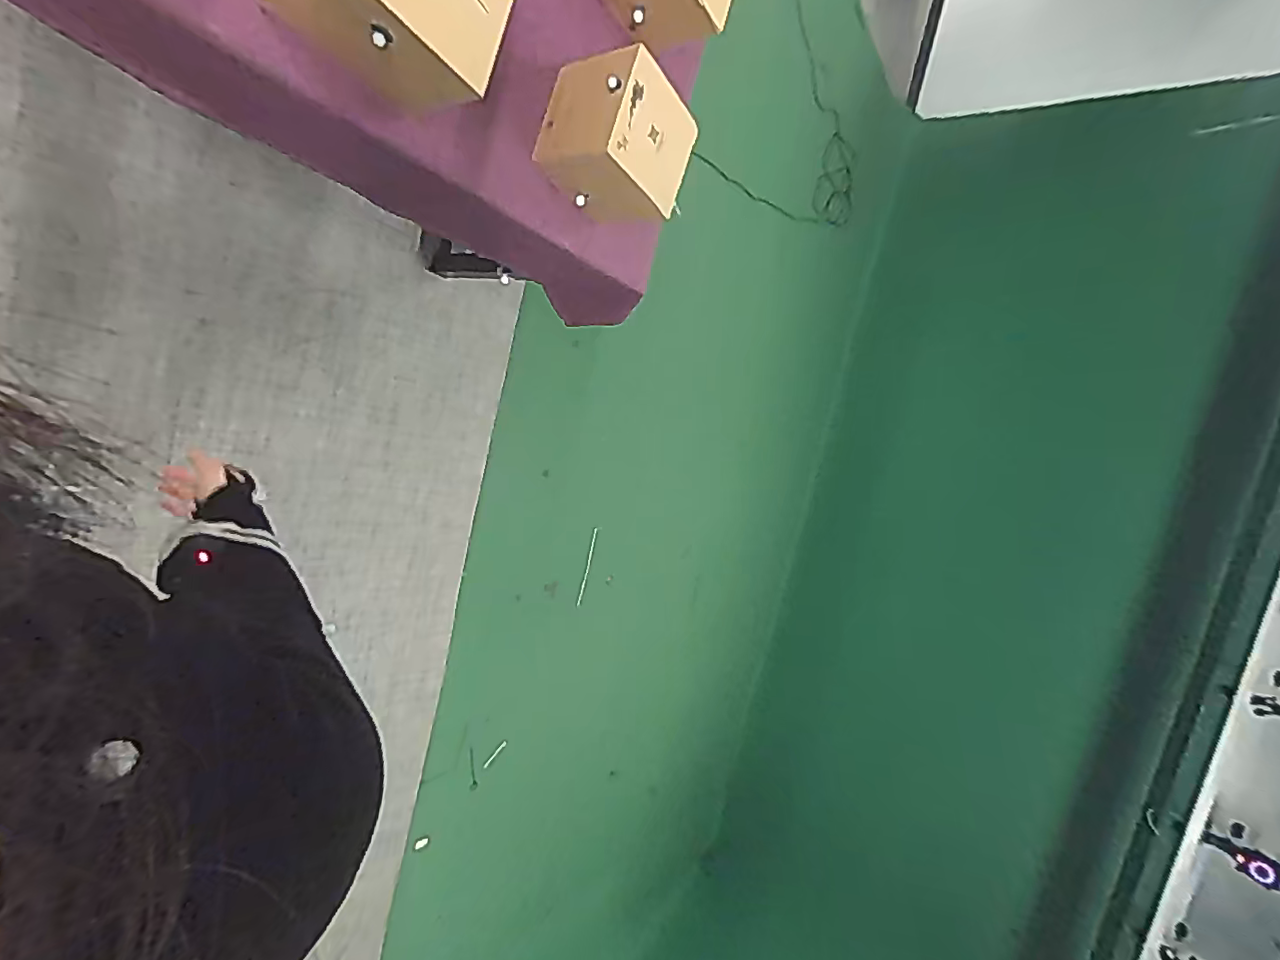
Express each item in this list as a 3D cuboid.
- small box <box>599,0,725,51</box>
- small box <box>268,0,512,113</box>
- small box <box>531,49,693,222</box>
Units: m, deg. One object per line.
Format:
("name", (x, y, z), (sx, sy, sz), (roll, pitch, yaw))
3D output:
("small box", (0.038, -0.850, 0.874), (0.168, 0.176, 0.179), (13, 94, -54))
("small box", (-0.267, -0.540, 0.590), (0.179, 0.176, 0.168), (17, 90, -55))
("small box", (-0.044, -0.548, 0.887), (0.179, 0.176, 0.168), (19, 88, -55))
